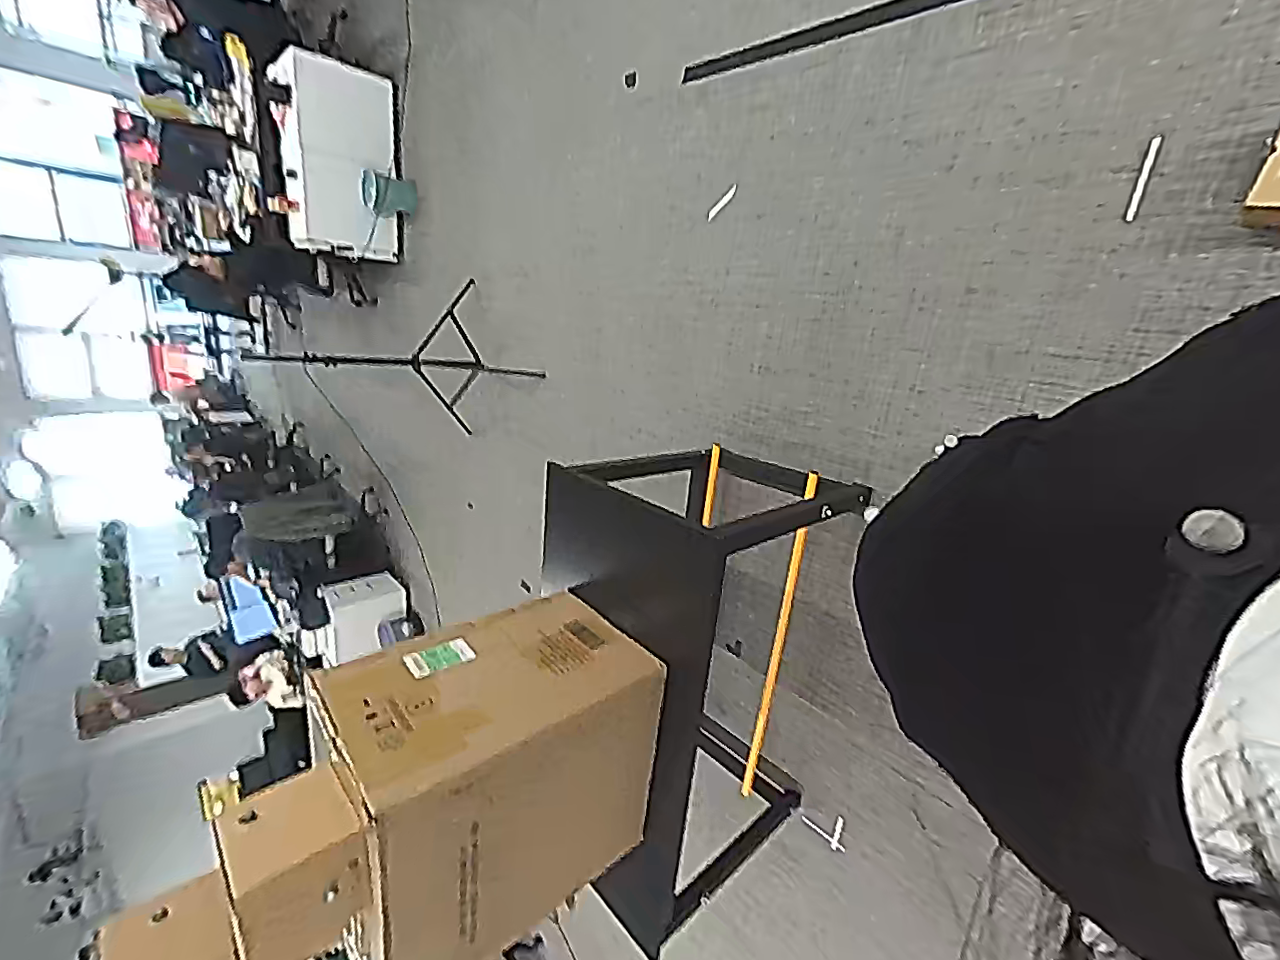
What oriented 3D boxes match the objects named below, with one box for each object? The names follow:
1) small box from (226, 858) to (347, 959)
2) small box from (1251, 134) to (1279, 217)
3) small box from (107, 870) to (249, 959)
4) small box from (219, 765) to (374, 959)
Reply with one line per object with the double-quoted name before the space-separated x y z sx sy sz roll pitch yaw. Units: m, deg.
"small box" -0.682 0.803 1.056 0.179 0.176 0.168 23 113 43
"small box" 1.119 -0.515 0.847 0.179 0.176 0.168 27 117 41
"small box" -0.791 0.825 0.935 0.179 0.176 0.168 25 116 42
"small box" -0.539 0.592 0.856 0.179 0.176 0.168 19 113 43
